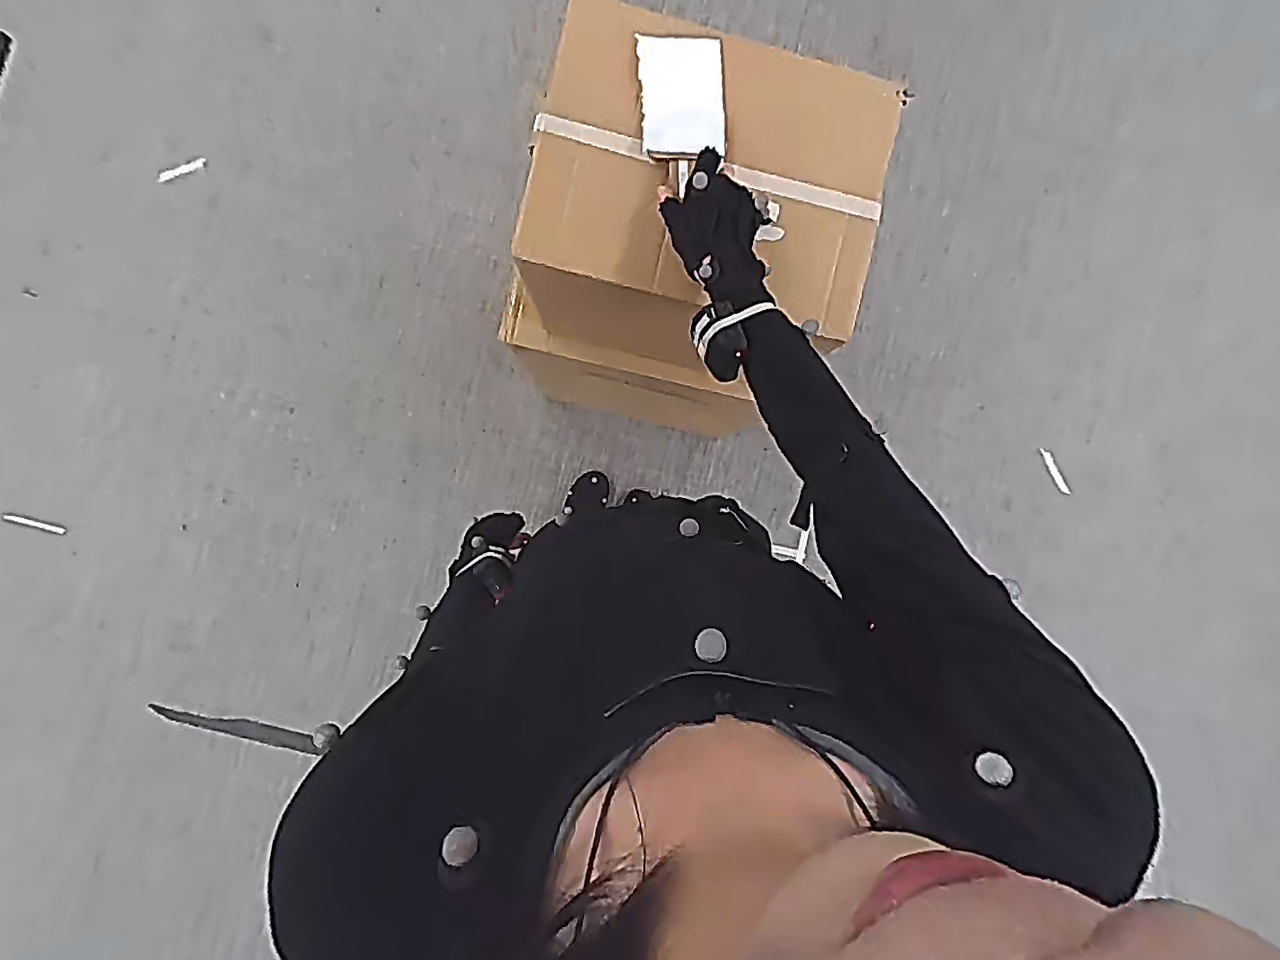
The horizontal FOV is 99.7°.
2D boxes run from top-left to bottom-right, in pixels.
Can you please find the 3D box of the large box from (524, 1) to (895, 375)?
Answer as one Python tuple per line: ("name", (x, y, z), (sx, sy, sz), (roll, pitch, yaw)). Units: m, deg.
("large box", (0.074, -0.370, 0.786), (0.408, 0.320, 0.320), (13, 90, -4))
